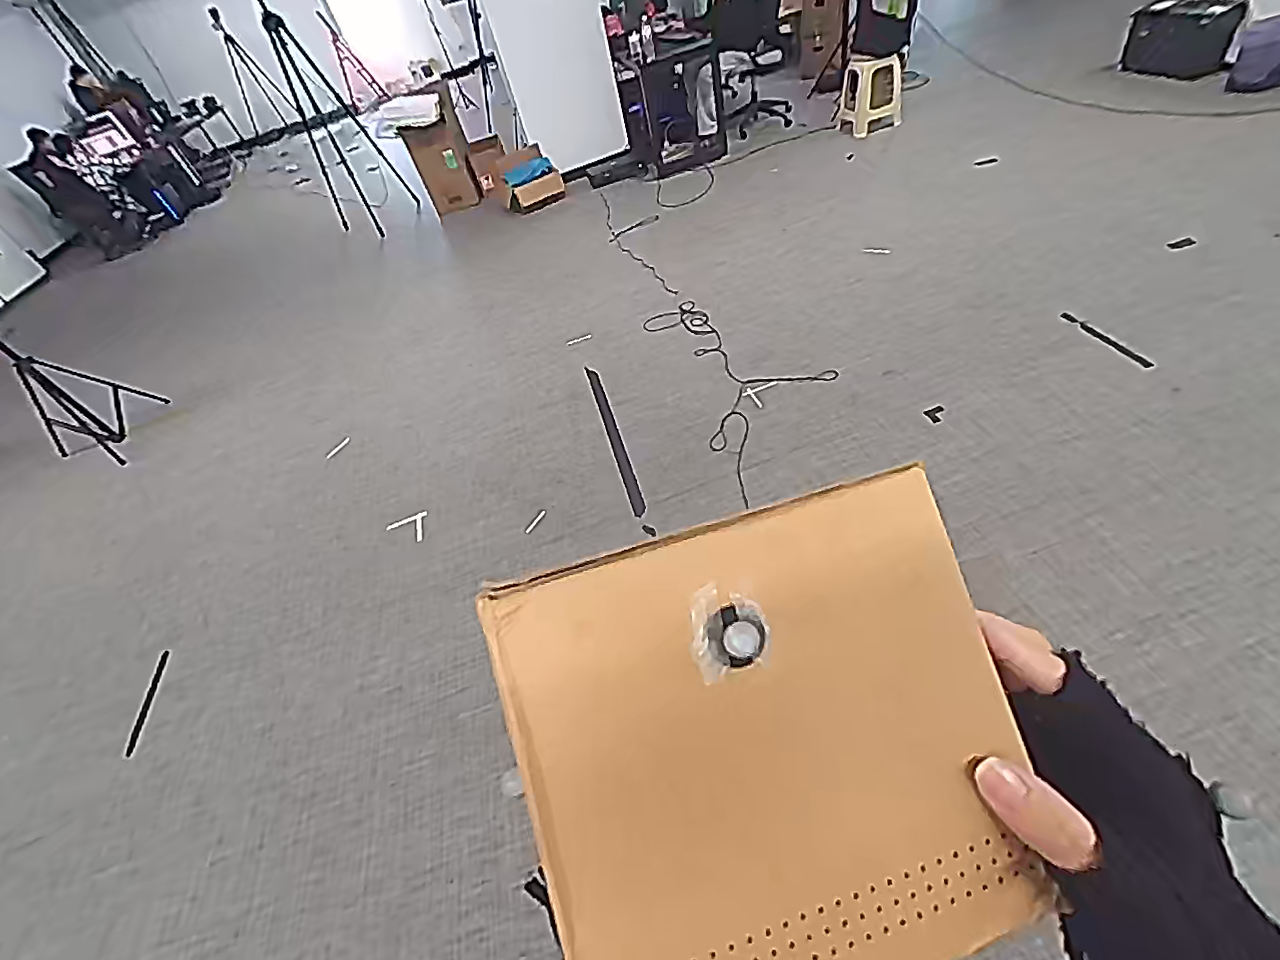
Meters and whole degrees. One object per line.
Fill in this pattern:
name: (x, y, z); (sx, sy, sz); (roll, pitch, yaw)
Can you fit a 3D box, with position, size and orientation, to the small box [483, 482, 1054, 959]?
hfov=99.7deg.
small box: (0.044, 0.115, 0.265); (0.179, 0.168, 0.176); (-15, 83, -8)
